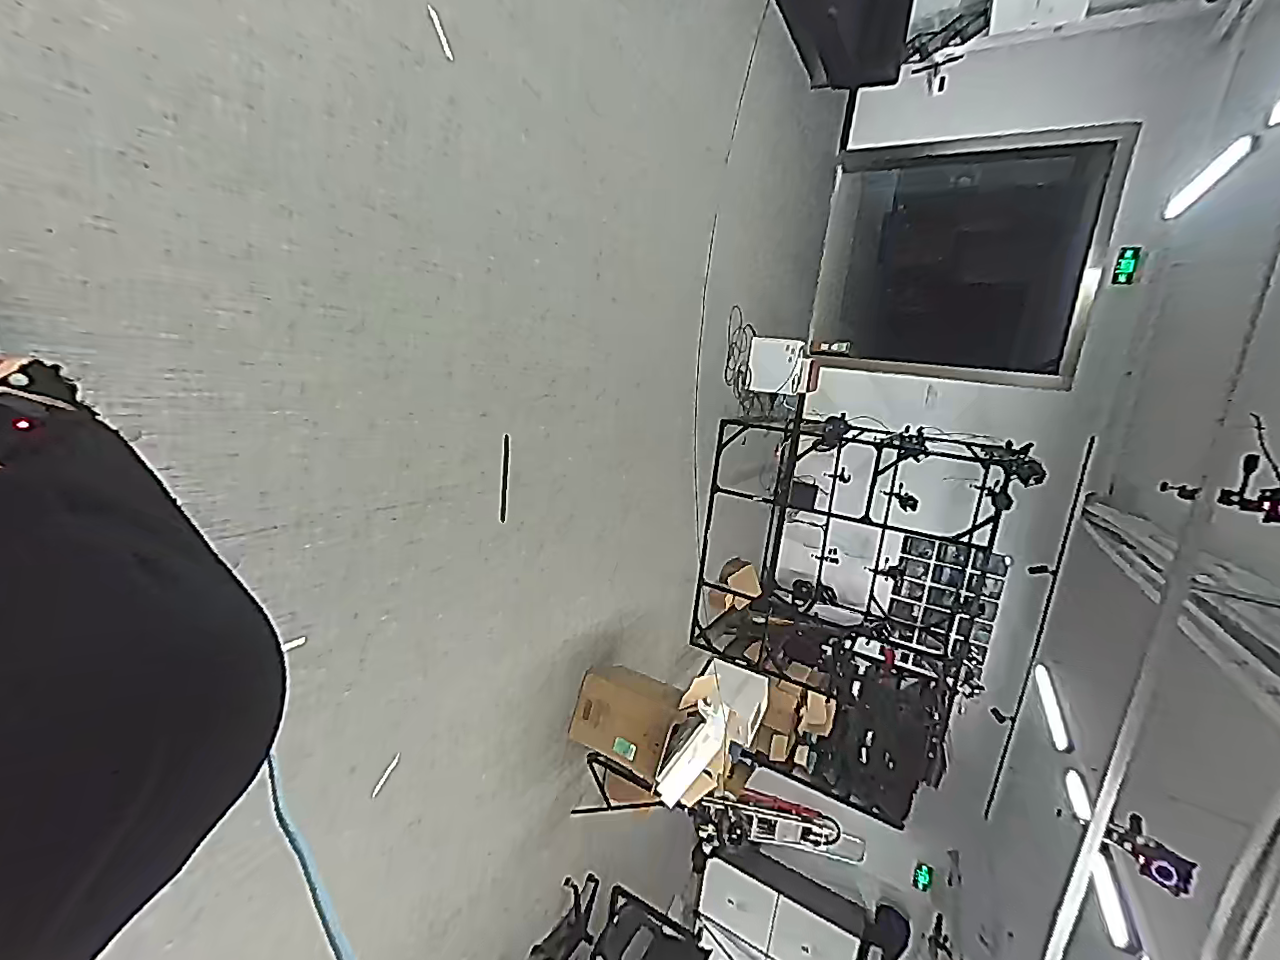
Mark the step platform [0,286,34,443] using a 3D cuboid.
[{"bbox_3d":[-1.317,-0.204,0.716,0.684,0.204,0.286,-3,103,-61],"label":"step platform"}]
